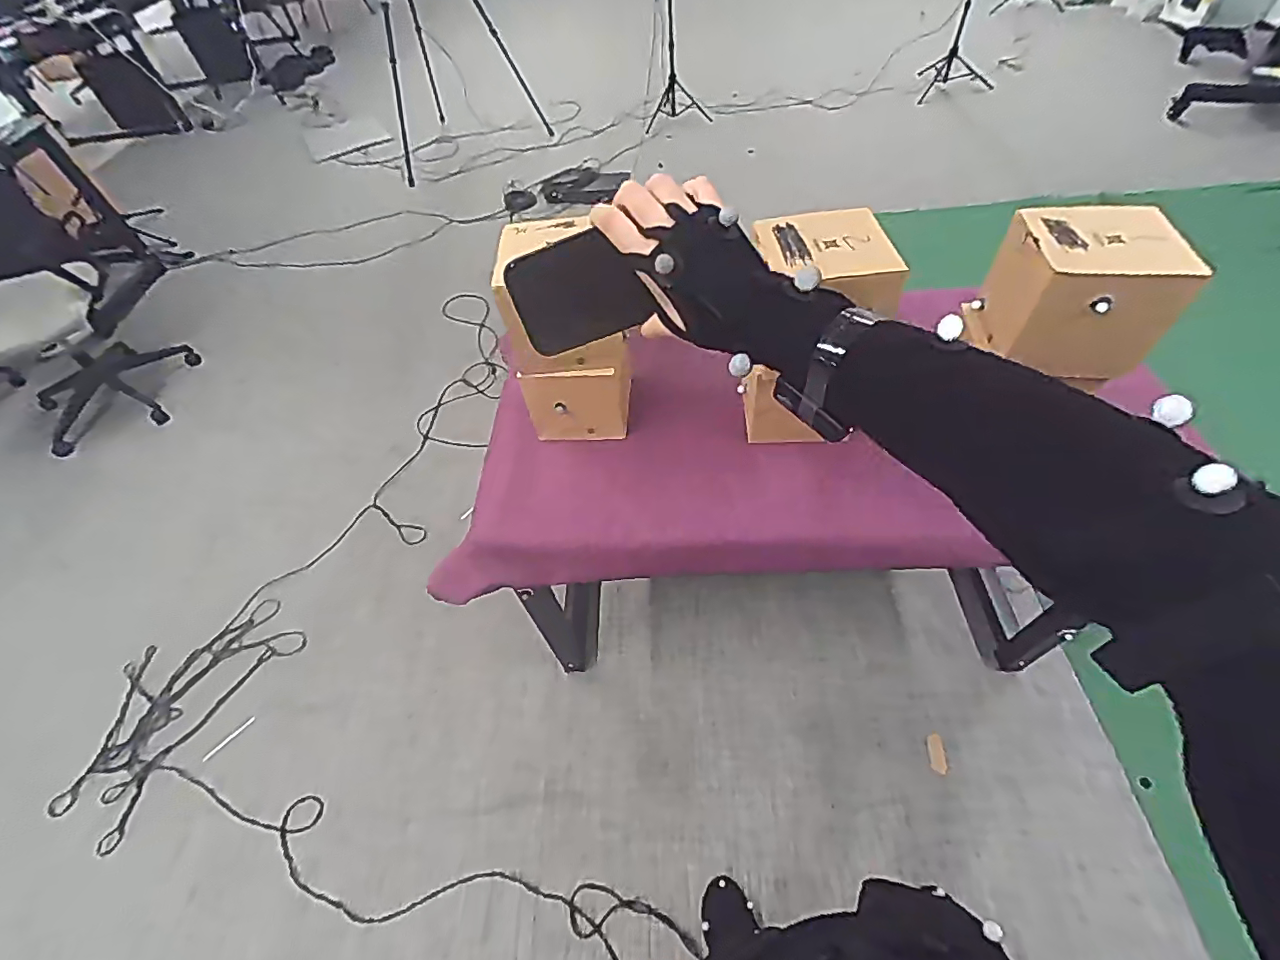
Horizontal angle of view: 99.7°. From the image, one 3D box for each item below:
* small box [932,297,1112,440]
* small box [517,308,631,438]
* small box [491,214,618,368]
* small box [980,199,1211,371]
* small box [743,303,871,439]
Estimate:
[{"bbox_3d":[0.615,-0.182,0.897,0.179,0.176,0.168,3,53,10],"label":"small box"},{"bbox_3d":[-0.110,-0.190,0.994,0.168,0.176,0.179,-1,53,6],"label":"small box"},{"bbox_3d":[-0.126,-0.295,0.870,0.168,0.176,0.179,-5,53,3],"label":"small box"},{"bbox_3d":[0.607,-0.269,0.758,0.179,0.176,0.168,3,53,9],"label":"small box"},{"bbox_3d":[0.278,-0.184,0.940,0.179,0.176,0.168,-2,53,6],"label":"small box"}]
